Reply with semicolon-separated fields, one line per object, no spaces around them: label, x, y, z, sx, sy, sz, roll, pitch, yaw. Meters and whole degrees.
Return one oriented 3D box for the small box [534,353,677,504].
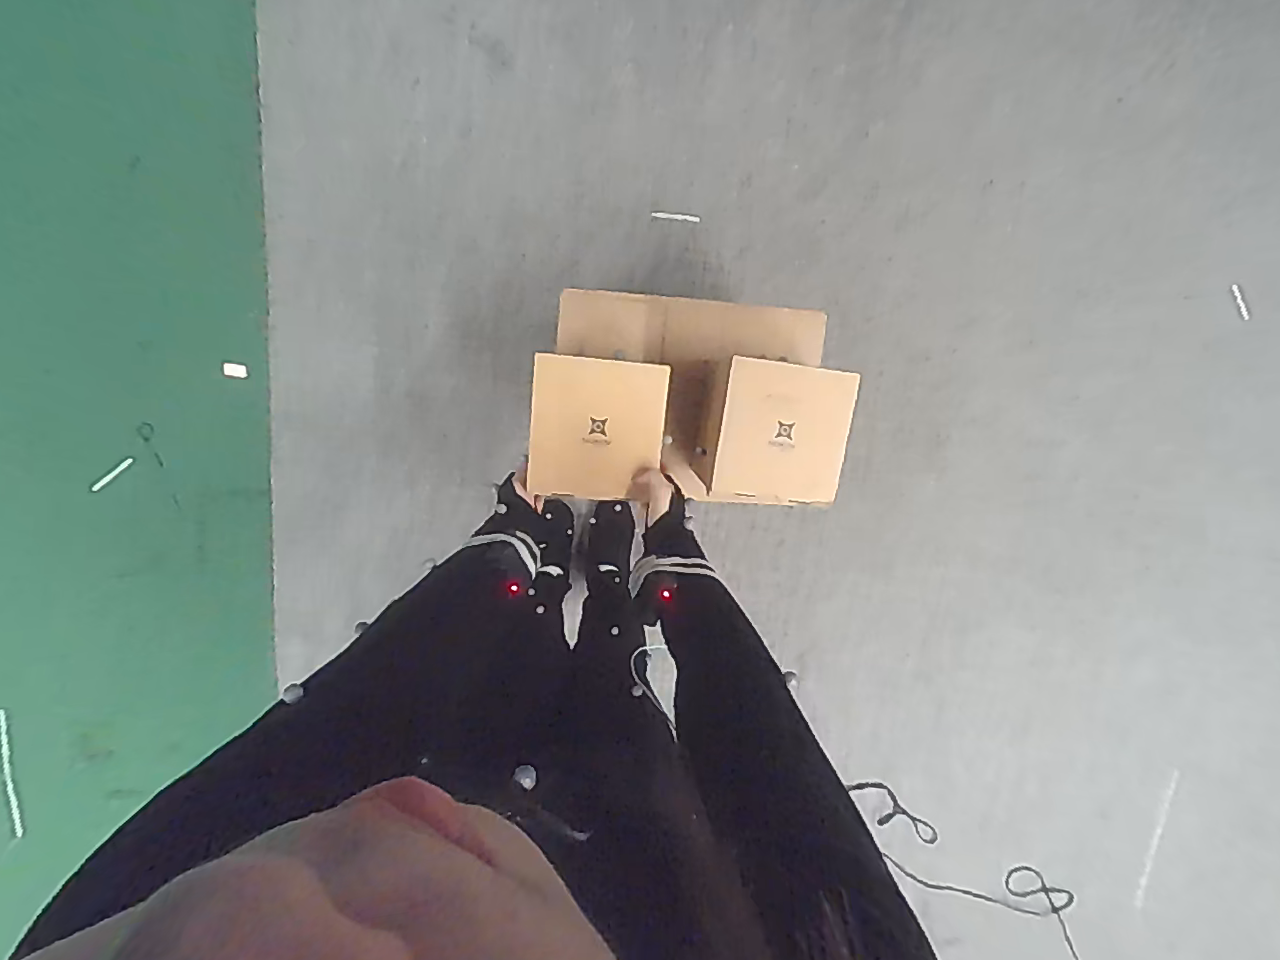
small box;-0.051;-0.077;0.741;0.168;0.176;0.179;4;102;-6

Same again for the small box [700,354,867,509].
small box;0.185;-0.072;0.755;0.168;0.176;0.179;8;99;-4
